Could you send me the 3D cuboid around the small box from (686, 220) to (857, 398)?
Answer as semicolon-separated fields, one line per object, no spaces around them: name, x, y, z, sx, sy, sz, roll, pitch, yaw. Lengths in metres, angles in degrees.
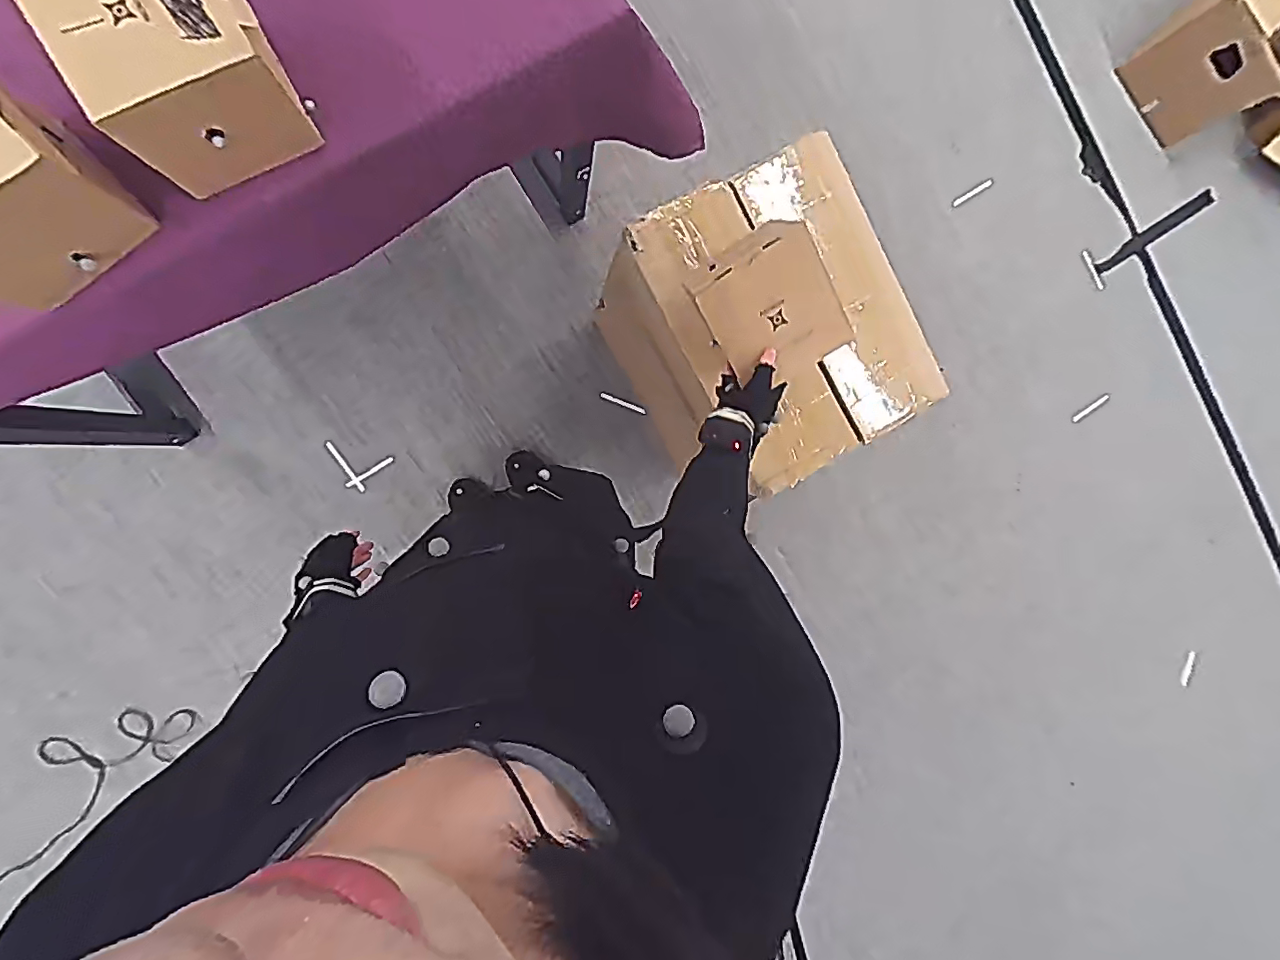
small box;0.181;-0.254;0.792;0.168;0.176;0.179;-30;114;14

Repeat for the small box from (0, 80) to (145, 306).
small box;-0.703;-0.323;0.584;0.179;0.176;0.168;-43;98;-7

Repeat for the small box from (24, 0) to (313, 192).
small box;-0.508;-0.468;0.609;0.179;0.176;0.168;-29;96;-6
